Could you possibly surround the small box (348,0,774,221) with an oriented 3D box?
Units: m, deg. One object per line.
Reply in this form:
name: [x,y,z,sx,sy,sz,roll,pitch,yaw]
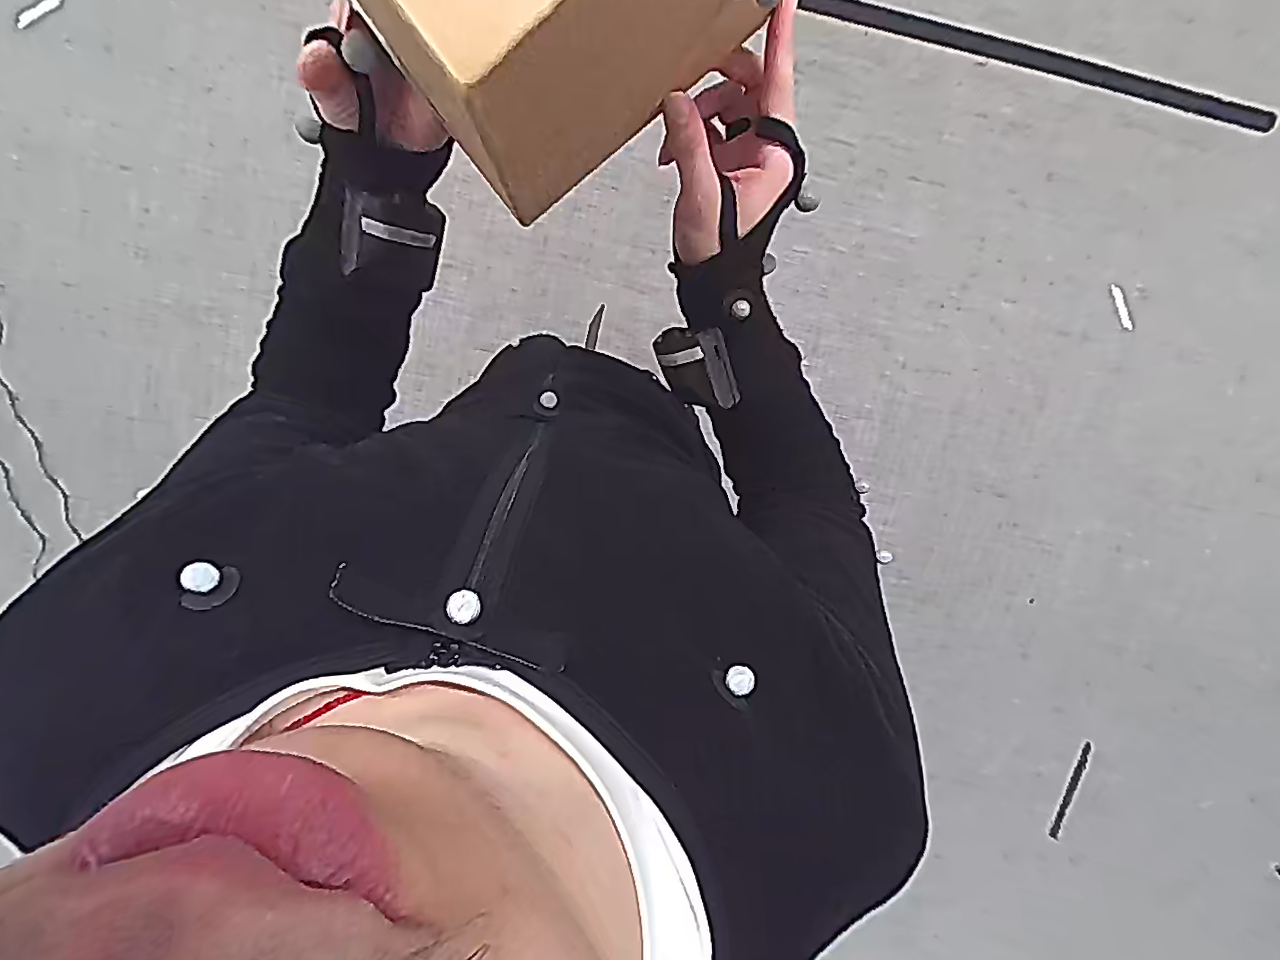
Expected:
small box: [-0.037,-0.241,0.214,0.179,0.176,0.168,-40,104,4]
